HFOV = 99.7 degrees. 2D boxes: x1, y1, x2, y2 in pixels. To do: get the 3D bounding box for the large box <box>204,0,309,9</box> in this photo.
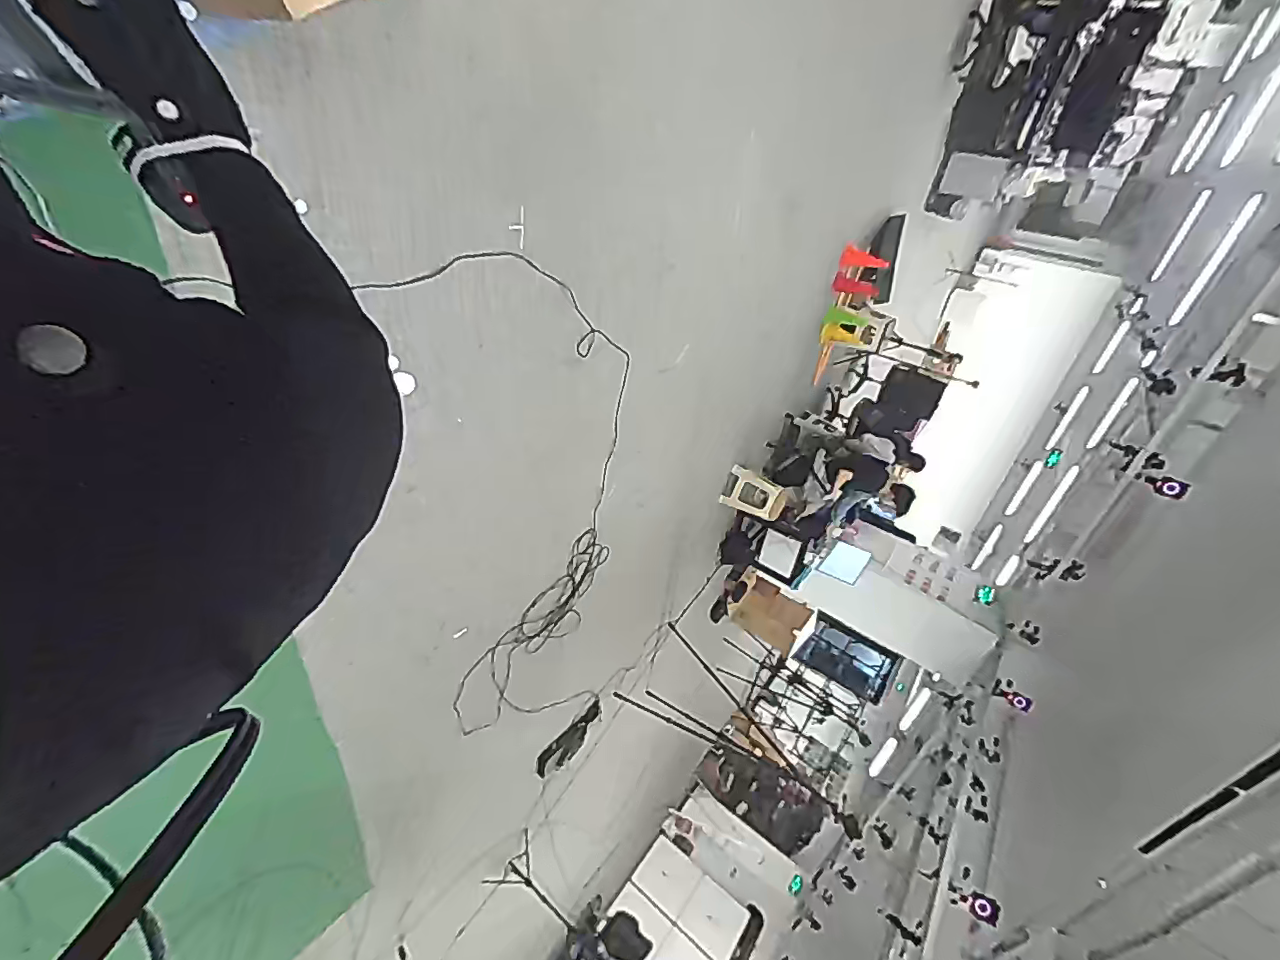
[{"bbox_3d":[-0.548,-0.940,0.725,0.320,0.320,0.408,-50,149,-23],"label":"large box"}]
